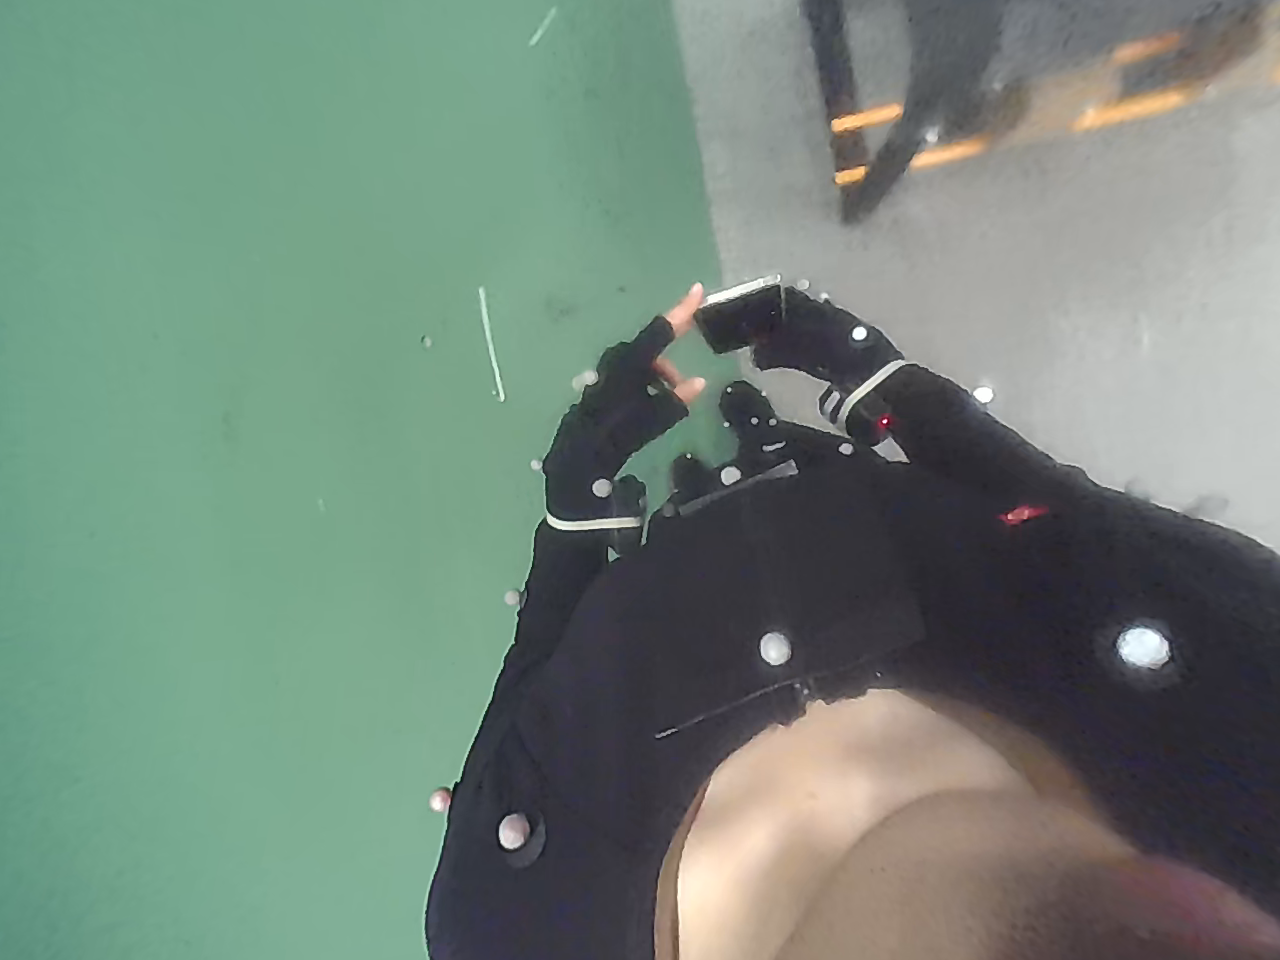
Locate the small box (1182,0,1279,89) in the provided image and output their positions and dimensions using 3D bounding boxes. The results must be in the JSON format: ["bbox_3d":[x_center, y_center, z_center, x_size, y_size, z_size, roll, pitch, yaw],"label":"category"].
[{"bbox_3d":[1.266,-0.936,1.100,0.168,0.176,0.179,-8,95,5],"label":"small box"}]
